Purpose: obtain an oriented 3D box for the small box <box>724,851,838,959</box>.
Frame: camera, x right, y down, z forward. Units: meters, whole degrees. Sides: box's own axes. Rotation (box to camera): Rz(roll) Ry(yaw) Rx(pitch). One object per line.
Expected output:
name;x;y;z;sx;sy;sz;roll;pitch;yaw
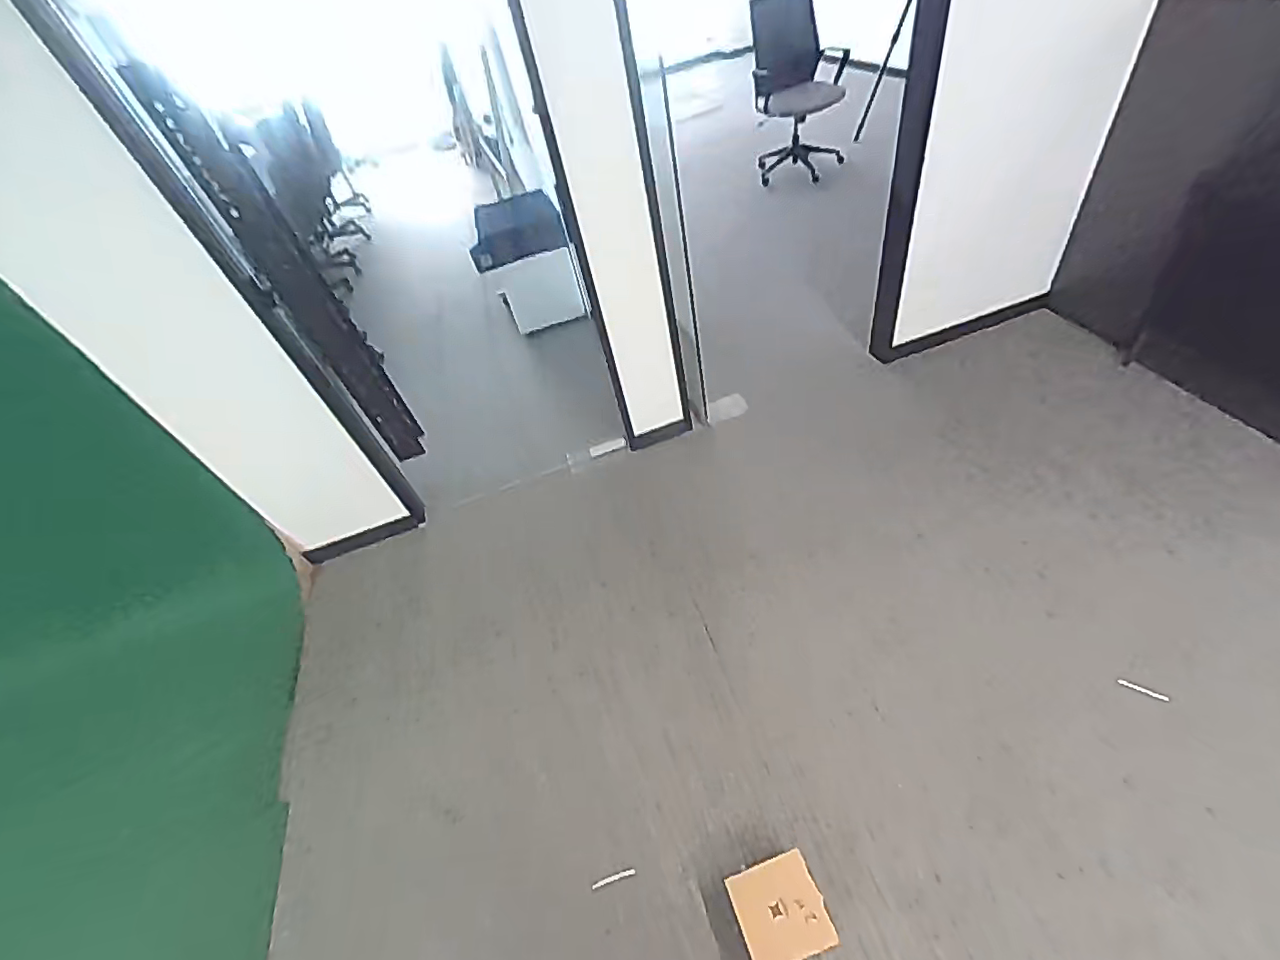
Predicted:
small box;0.294;0.922;1.141;0.179;0.176;0.168;-19;46;-5
